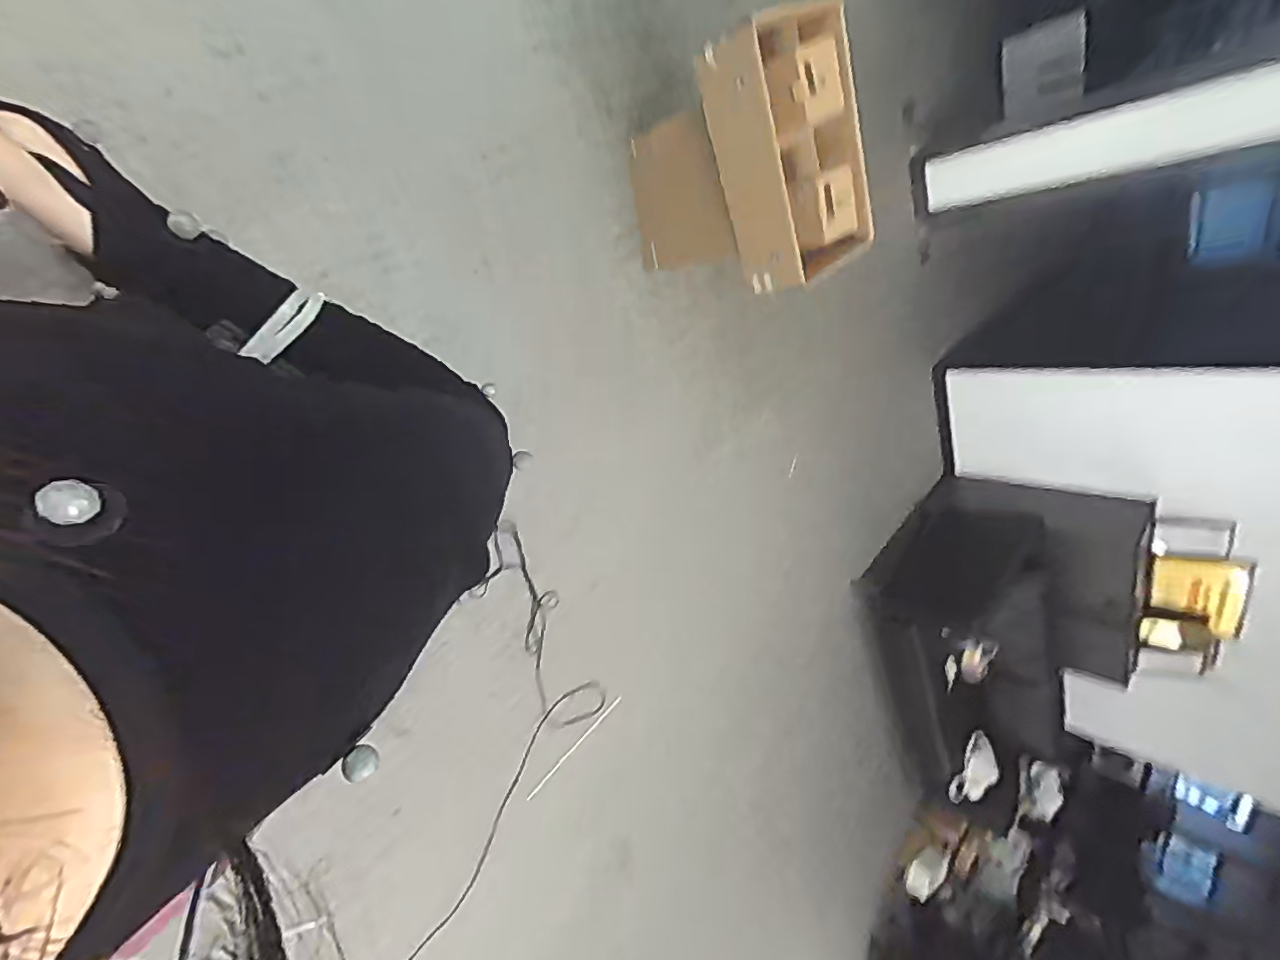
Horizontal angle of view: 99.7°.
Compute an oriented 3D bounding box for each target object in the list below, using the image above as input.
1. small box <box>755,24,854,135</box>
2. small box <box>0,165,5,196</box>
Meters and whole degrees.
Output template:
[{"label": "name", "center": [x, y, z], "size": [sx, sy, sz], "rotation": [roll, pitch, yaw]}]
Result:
[{"label": "small box", "center": [0.409, -1.004, 1.367], "size": [0.179, 0.176, 0.168], "rotation": [-39, 122, -27]}, {"label": "small box", "center": [-0.469, -0.219, 0.253], "size": [0.168, 0.176, 0.179], "rotation": [-41, 125, -34]}]
